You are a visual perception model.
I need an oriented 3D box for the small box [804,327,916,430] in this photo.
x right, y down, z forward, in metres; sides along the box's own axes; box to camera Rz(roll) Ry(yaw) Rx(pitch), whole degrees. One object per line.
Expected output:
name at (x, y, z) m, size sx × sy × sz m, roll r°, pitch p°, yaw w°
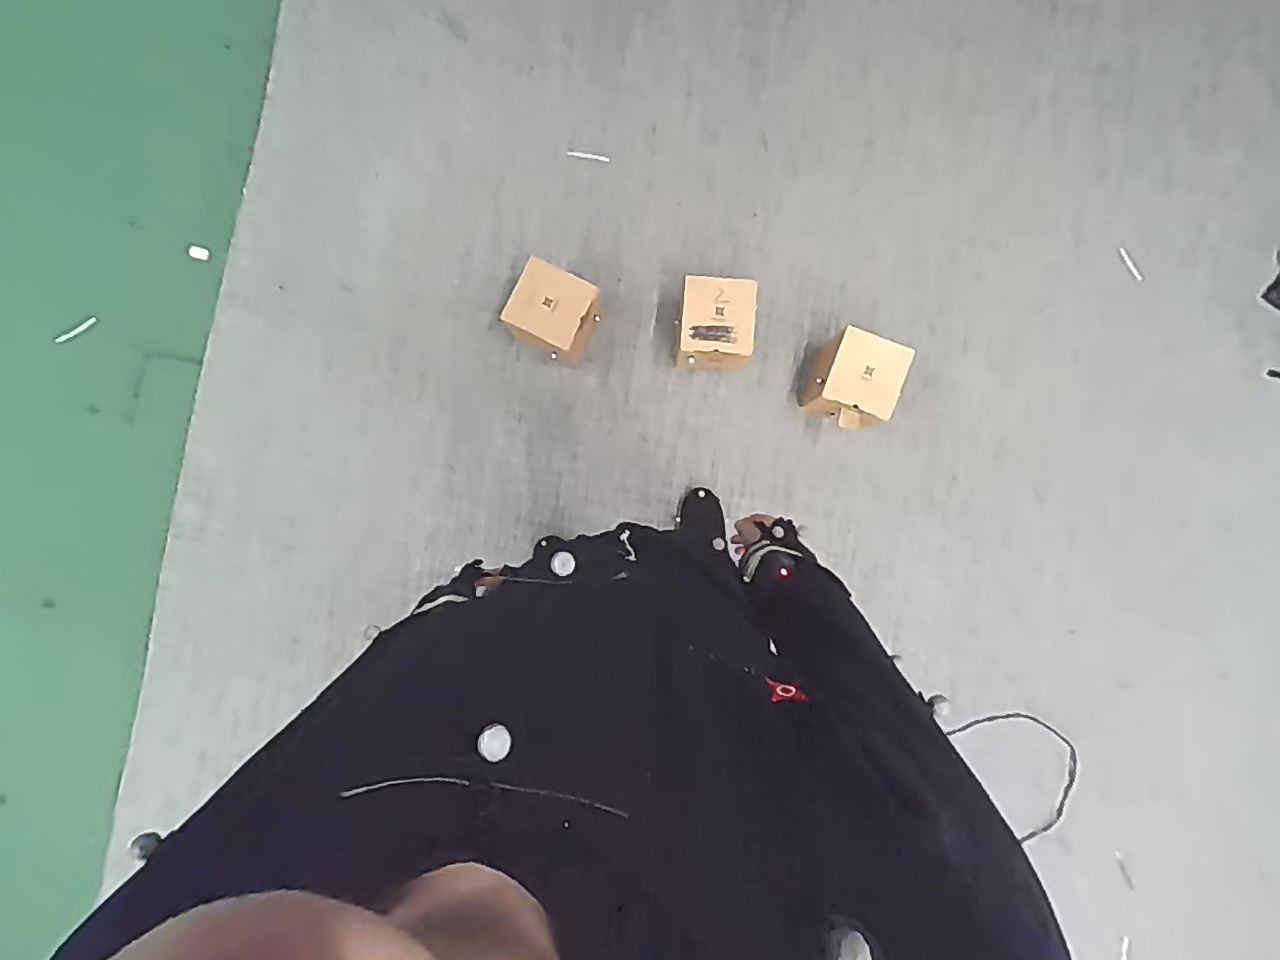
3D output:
small box at (0.511, -0.233, 1.284) m, size 0.168 × 0.176 × 0.179 m, roll 21°, pitch 89°, yaw 0°

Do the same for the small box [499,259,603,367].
small box at (-0.202, -0.387, 1.289) m, size 0.179 × 0.176 × 0.168 m, roll 25°, pitch 88°, yaw 4°
